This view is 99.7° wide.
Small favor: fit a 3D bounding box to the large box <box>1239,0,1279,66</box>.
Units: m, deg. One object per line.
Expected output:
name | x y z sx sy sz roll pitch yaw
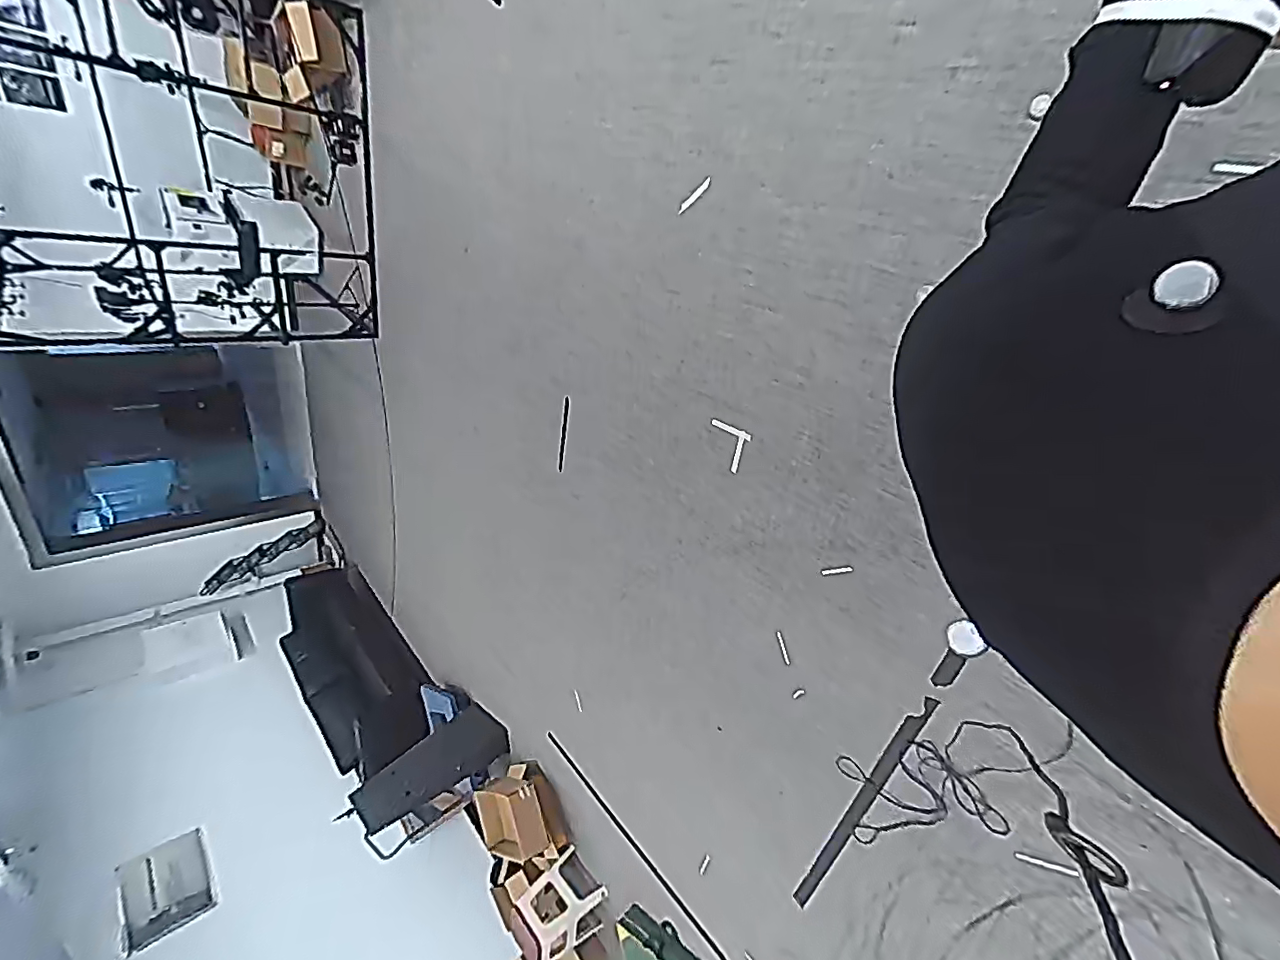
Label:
large box | 0.608 -0.388 0.220 0.408 0.320 0.320 30 130 33
